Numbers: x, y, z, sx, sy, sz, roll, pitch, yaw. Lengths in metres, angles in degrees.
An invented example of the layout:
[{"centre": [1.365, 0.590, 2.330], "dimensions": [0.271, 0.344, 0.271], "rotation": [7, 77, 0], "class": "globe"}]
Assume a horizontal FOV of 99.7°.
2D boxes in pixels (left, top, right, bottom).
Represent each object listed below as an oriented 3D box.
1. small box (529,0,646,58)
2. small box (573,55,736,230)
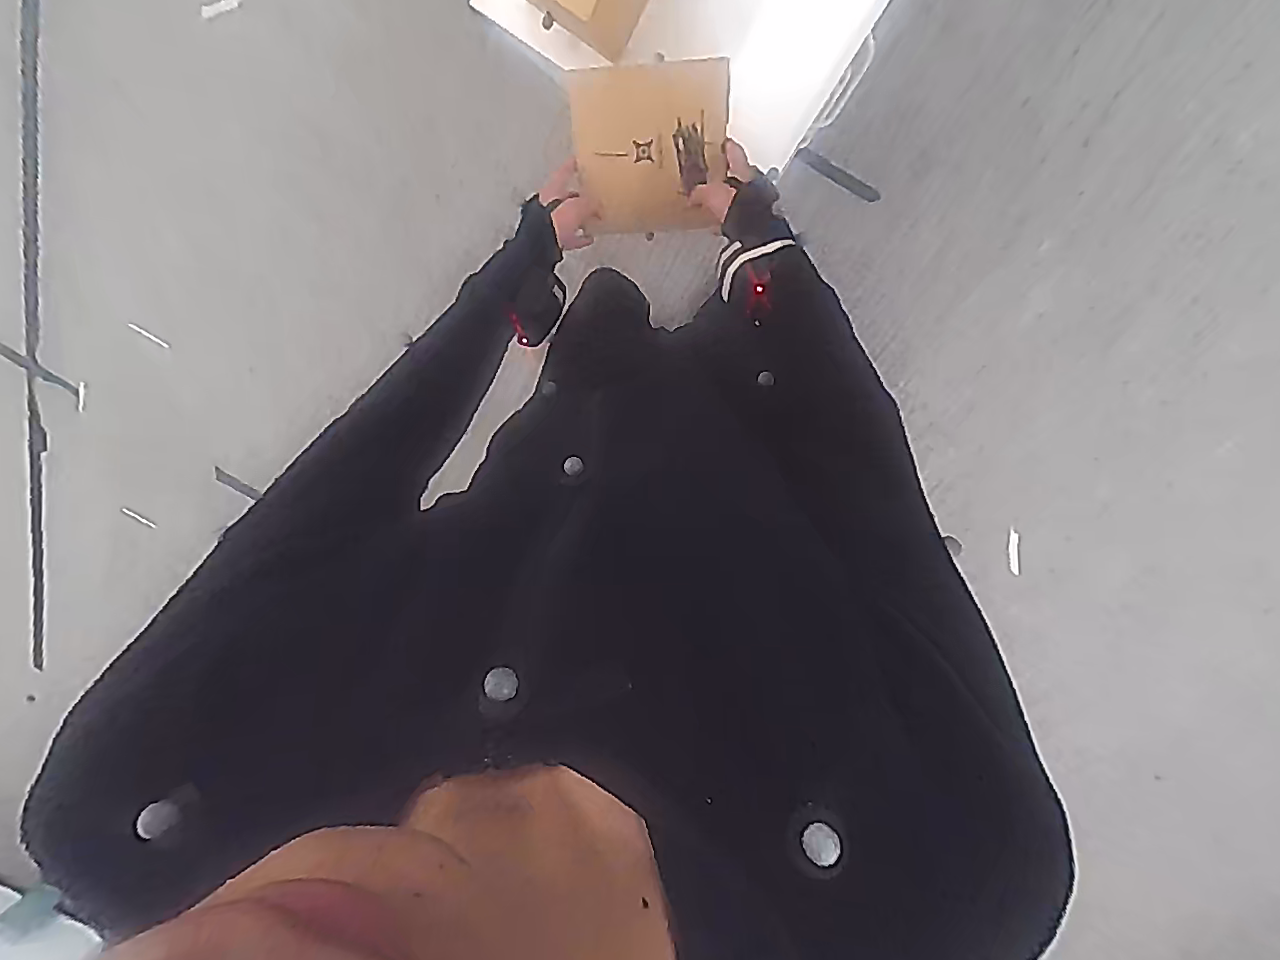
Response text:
[{"centre": [-0.070, -0.683, 0.670], "dimensions": [0.168, 0.176, 0.179], "rotation": [34, 115, -4], "class": "small box"}, {"centre": [0.020, -0.413, 0.677], "dimensions": [0.179, 0.176, 0.168], "rotation": [-1, 119, 4], "class": "small box"}]
